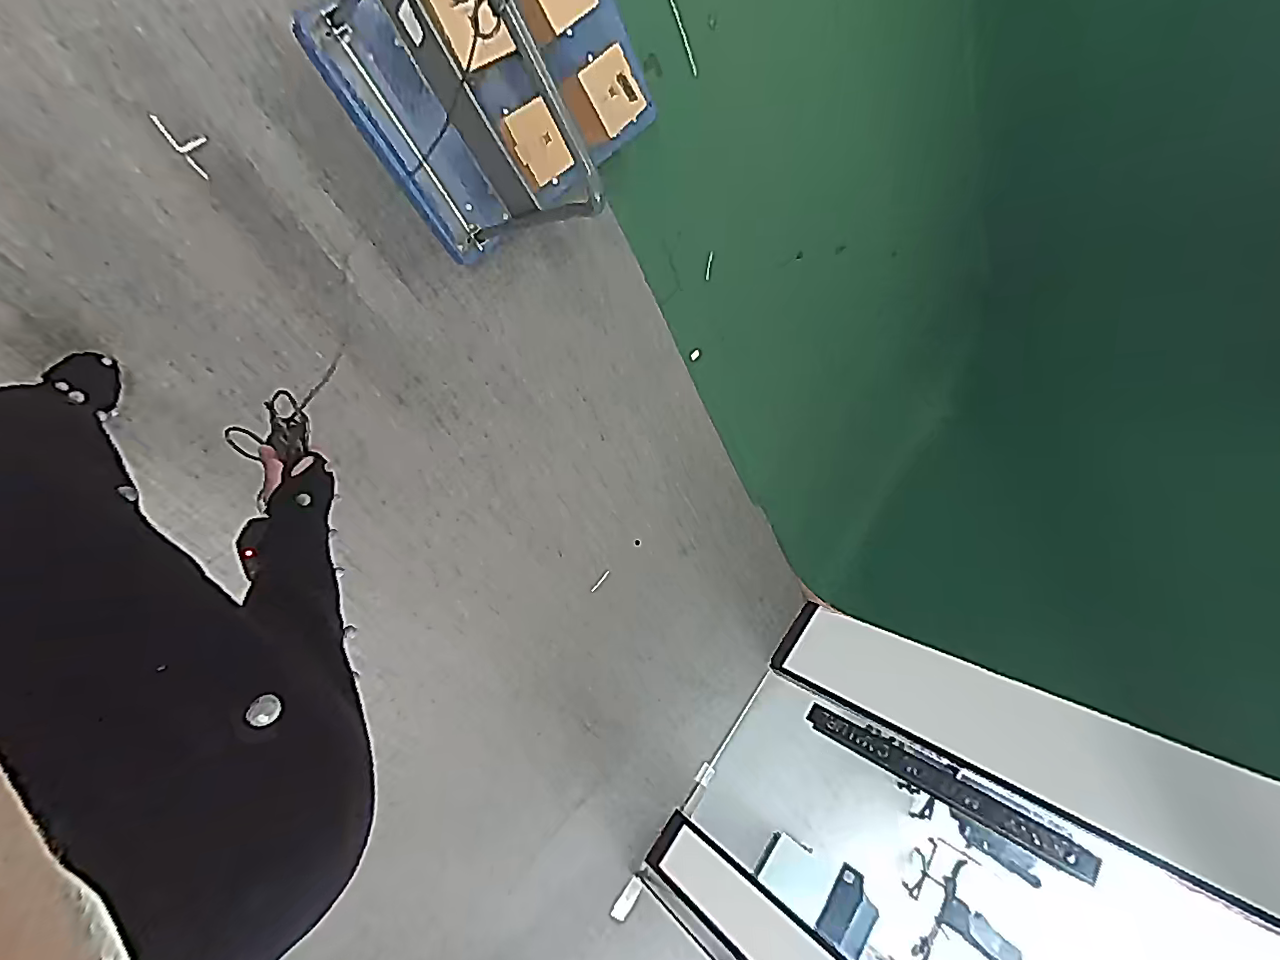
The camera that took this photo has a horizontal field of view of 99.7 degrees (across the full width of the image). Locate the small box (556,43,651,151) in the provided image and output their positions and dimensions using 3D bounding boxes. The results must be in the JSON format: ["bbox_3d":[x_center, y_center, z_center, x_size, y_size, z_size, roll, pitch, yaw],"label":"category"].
[{"bbox_3d":[-0.109,-1.056,1.505,0.179,0.176,0.168,-51,127,-18],"label":"small box"}]

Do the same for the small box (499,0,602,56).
[{"bbox_3d":[-0.236,-1.216,1.357,0.179,0.176,0.168,-52,129,-19],"label":"small box"}]

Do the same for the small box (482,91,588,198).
[{"bbox_3d":[-0.277,-0.867,1.410,0.179,0.176,0.168,-47,127,-21],"label":"small box"}]
